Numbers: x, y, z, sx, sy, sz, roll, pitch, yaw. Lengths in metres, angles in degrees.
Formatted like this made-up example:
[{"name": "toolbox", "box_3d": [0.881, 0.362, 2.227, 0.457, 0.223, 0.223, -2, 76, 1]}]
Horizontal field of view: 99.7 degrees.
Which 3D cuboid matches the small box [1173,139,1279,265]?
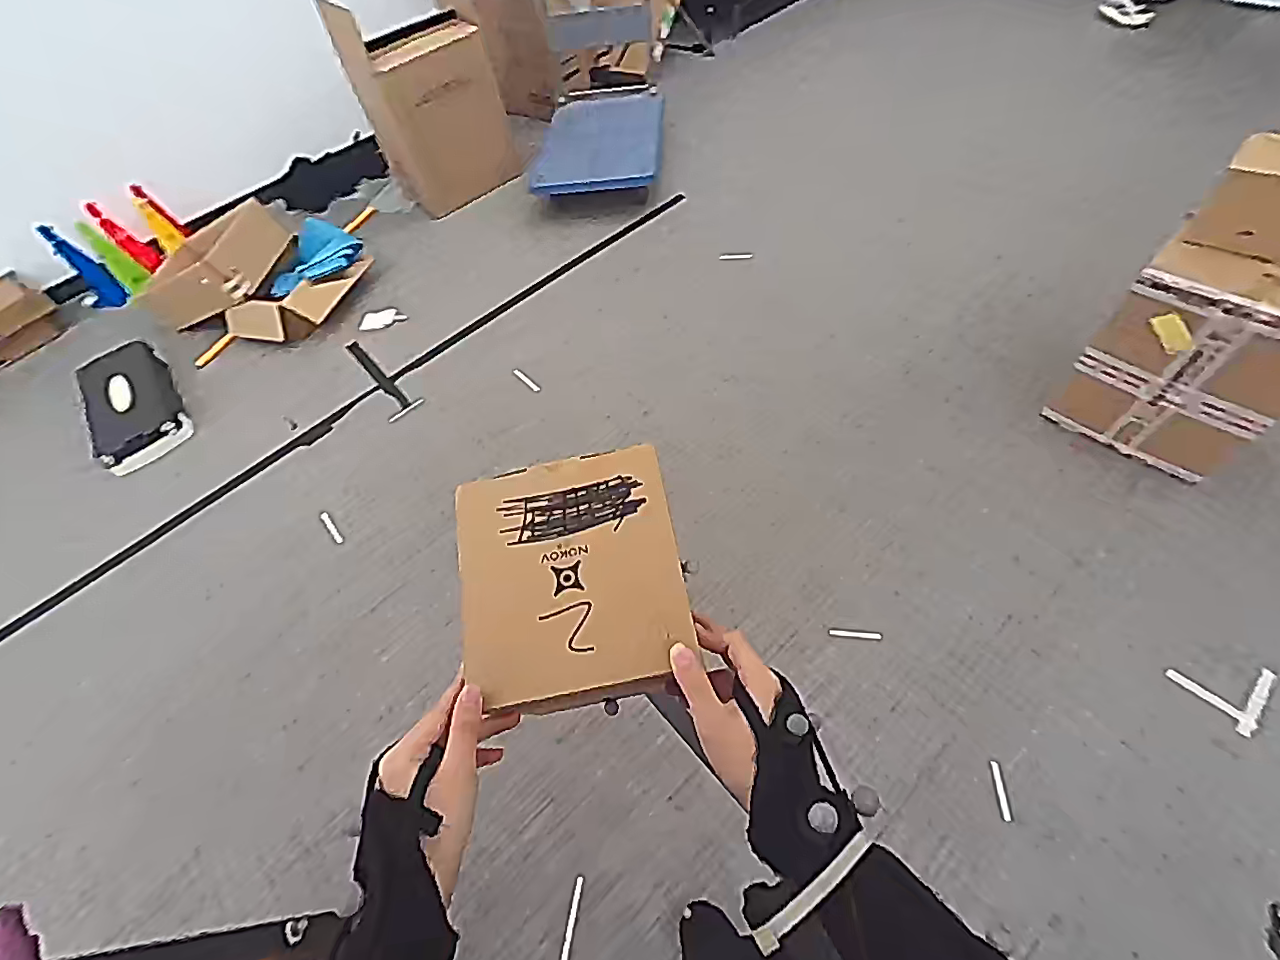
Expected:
[{"name": "small box", "box_3d": [1.334, -0.604, 1.170, 0.179, 0.176, 0.168, 35, 68, 31]}]
